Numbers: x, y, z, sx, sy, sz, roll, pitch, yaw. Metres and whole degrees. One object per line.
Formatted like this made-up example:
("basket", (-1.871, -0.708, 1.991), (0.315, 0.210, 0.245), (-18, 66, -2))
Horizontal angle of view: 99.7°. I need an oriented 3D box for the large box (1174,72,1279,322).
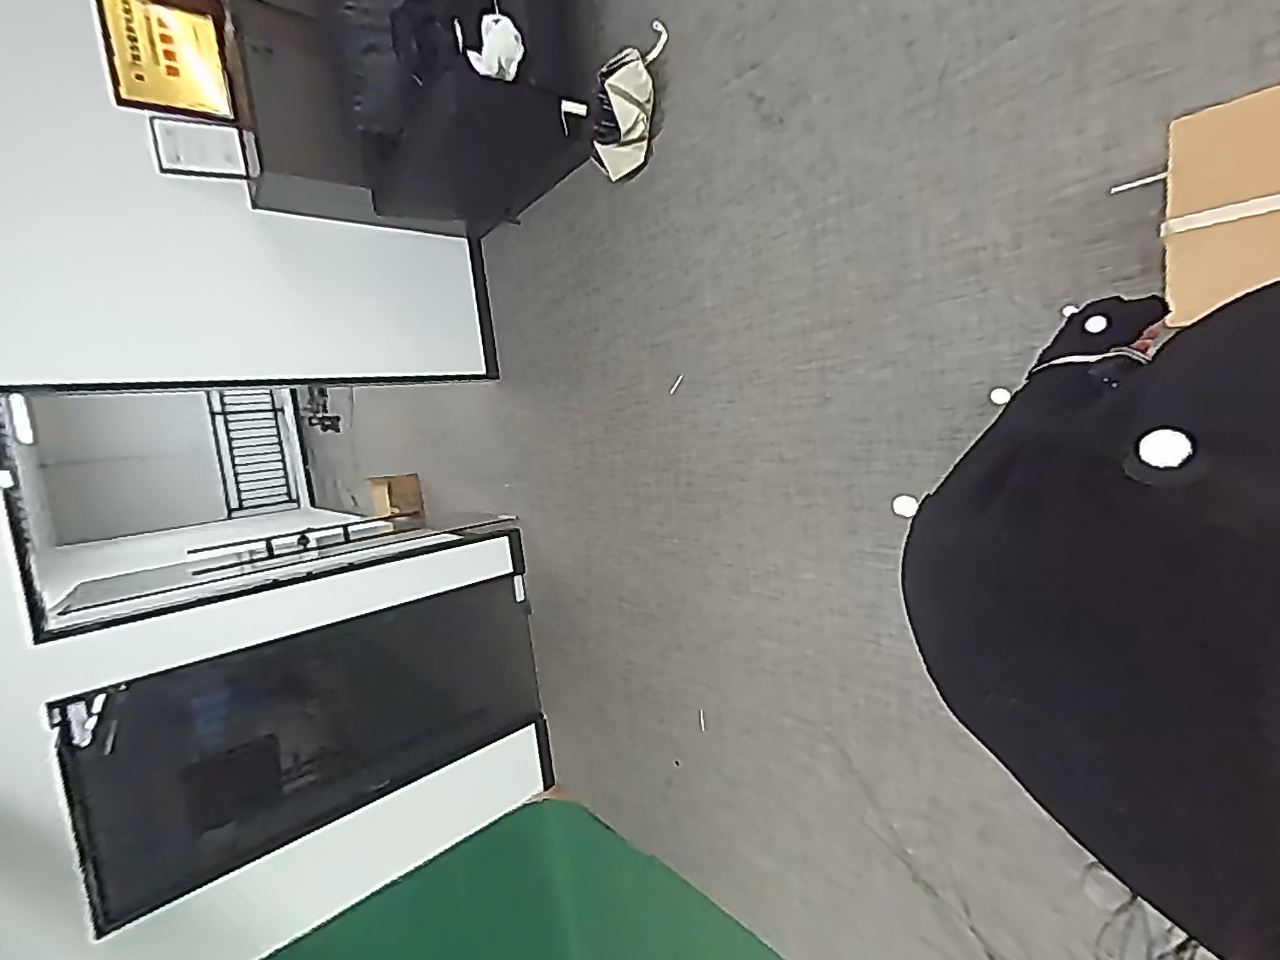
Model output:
("large box", (1.072, -0.430, 0.785), (0.408, 0.320, 0.320), (3, 101, 50))
